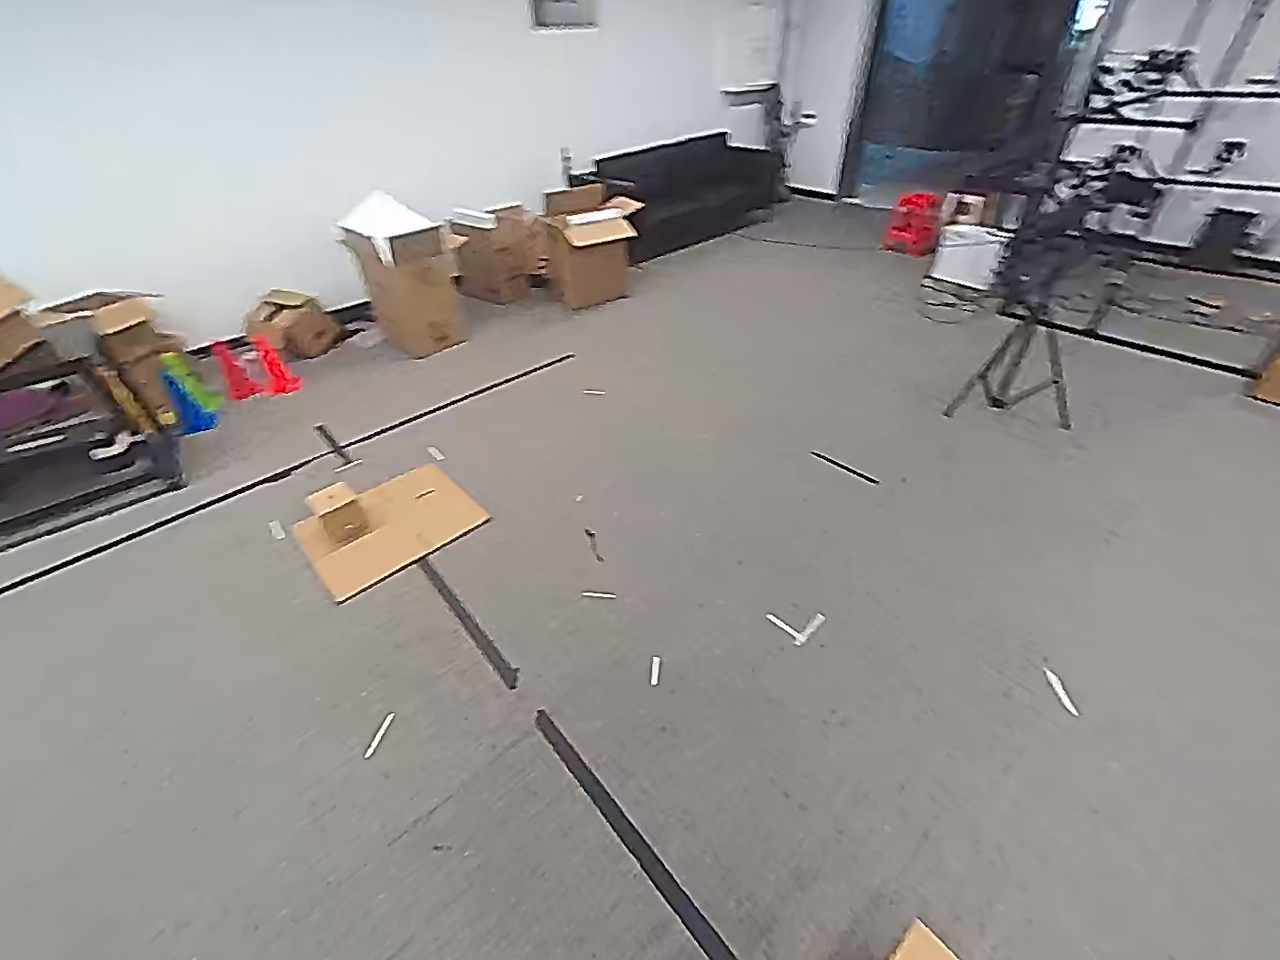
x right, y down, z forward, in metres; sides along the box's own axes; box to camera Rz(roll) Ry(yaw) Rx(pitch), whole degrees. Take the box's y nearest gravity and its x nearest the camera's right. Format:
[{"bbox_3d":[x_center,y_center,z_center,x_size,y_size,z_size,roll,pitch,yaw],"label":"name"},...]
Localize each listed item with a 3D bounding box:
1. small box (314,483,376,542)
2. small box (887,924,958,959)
[{"bbox_3d":[-1.319,0.147,2.420,0.168,0.176,0.179,-32,47,-30],"label":"small box"},{"bbox_3d":[0.542,0.997,1.011,0.168,0.176,0.179,-28,44,-29],"label":"small box"}]
